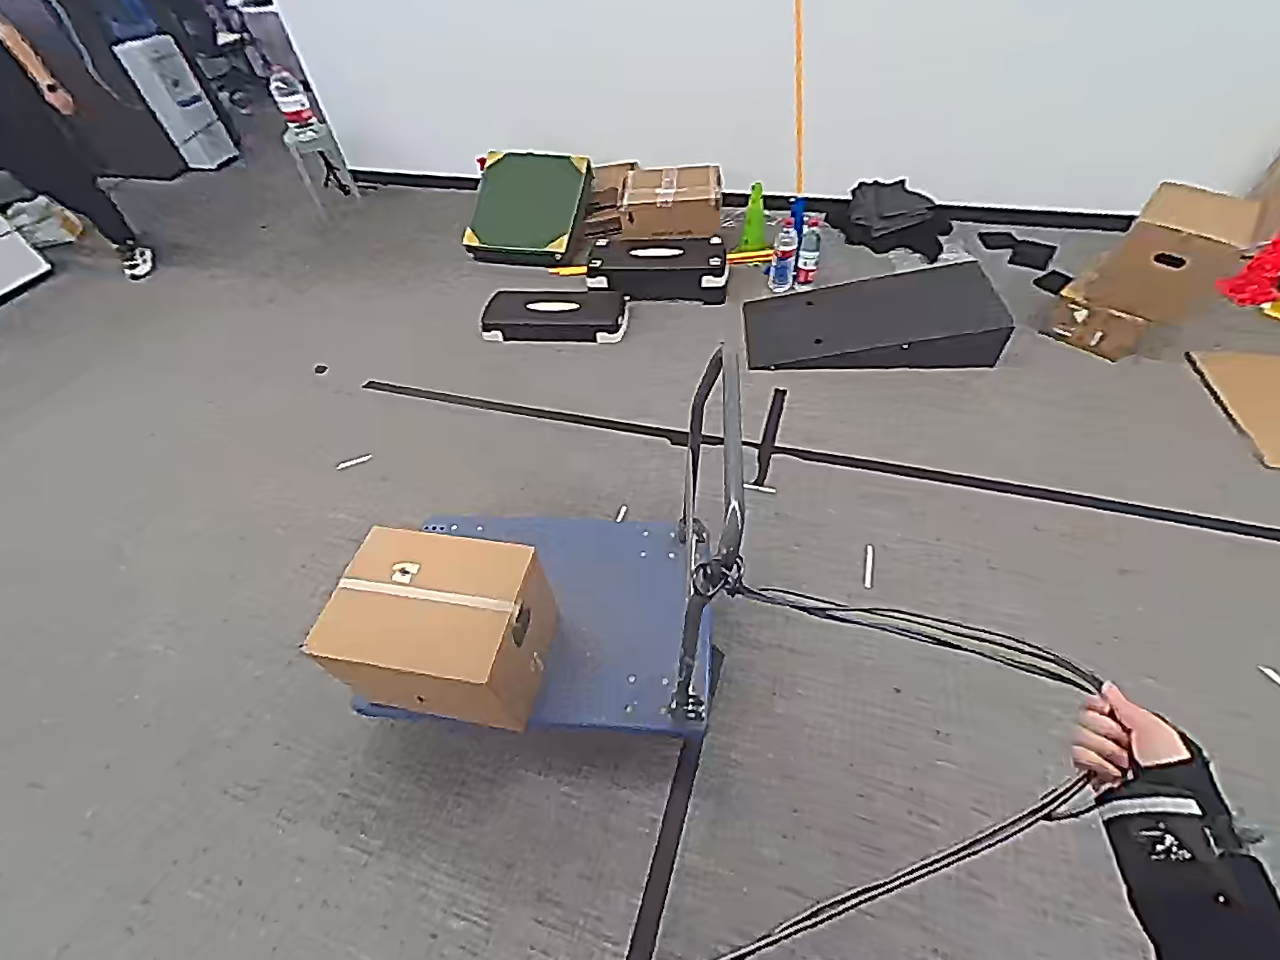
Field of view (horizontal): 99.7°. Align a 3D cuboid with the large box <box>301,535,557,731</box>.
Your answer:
[{"bbox_3d":[-0.442,0.353,1.244,0.408,0.320,0.320,5,50,10],"label":"large box"}]
